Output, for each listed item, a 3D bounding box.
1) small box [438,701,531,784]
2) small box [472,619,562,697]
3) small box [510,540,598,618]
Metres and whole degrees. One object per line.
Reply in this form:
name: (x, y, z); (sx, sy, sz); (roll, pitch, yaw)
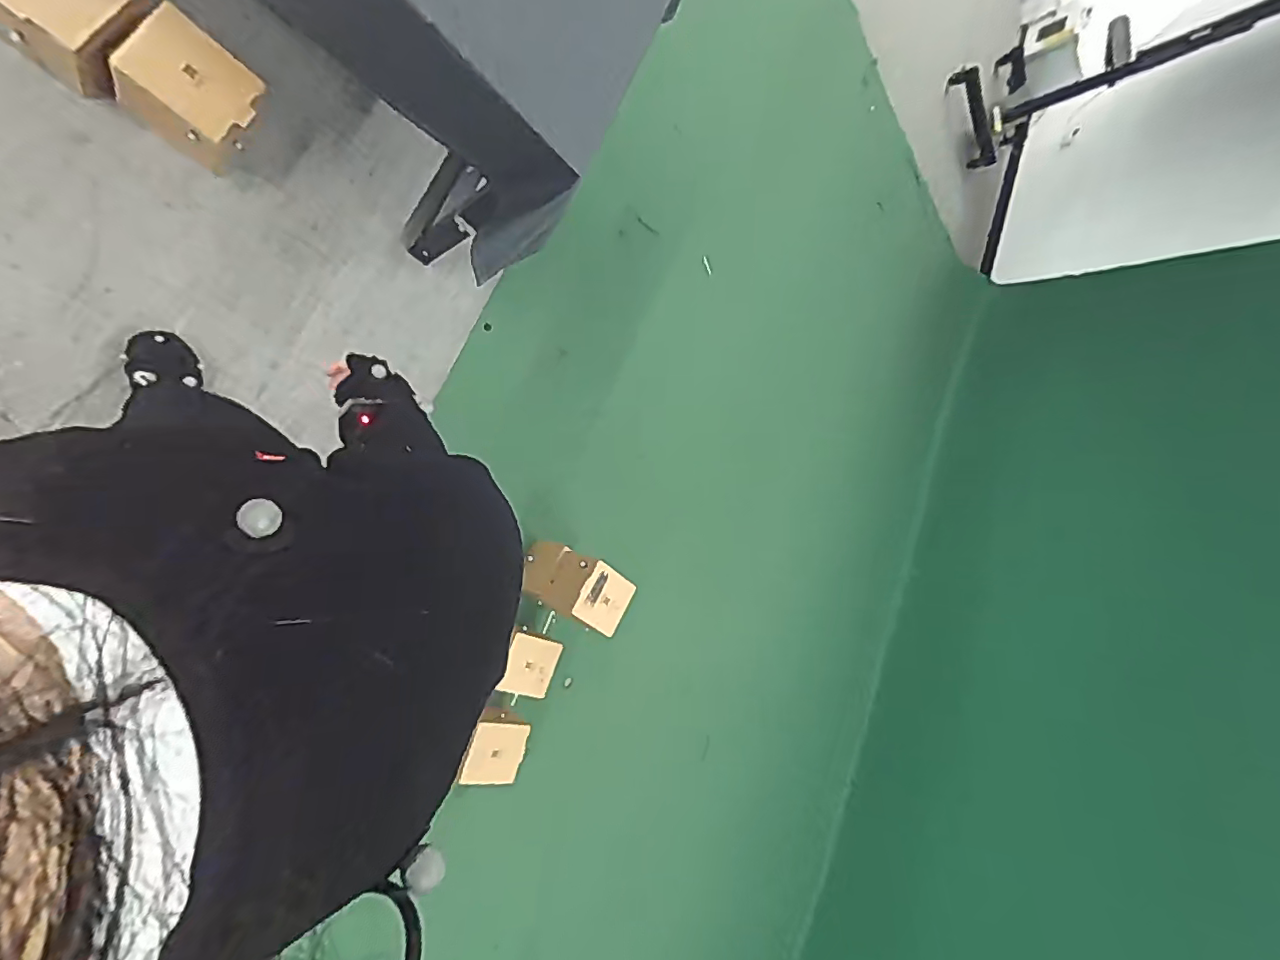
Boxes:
small box: (-0.454, 0.759, 1.572); (0.179, 0.176, 0.168); (26, 76, -40)
small box: (-0.373, 0.529, 1.622); (0.179, 0.176, 0.168); (30, 74, -39)
small box: (-0.271, 0.304, 1.694); (0.179, 0.176, 0.168); (45, 65, -33)
